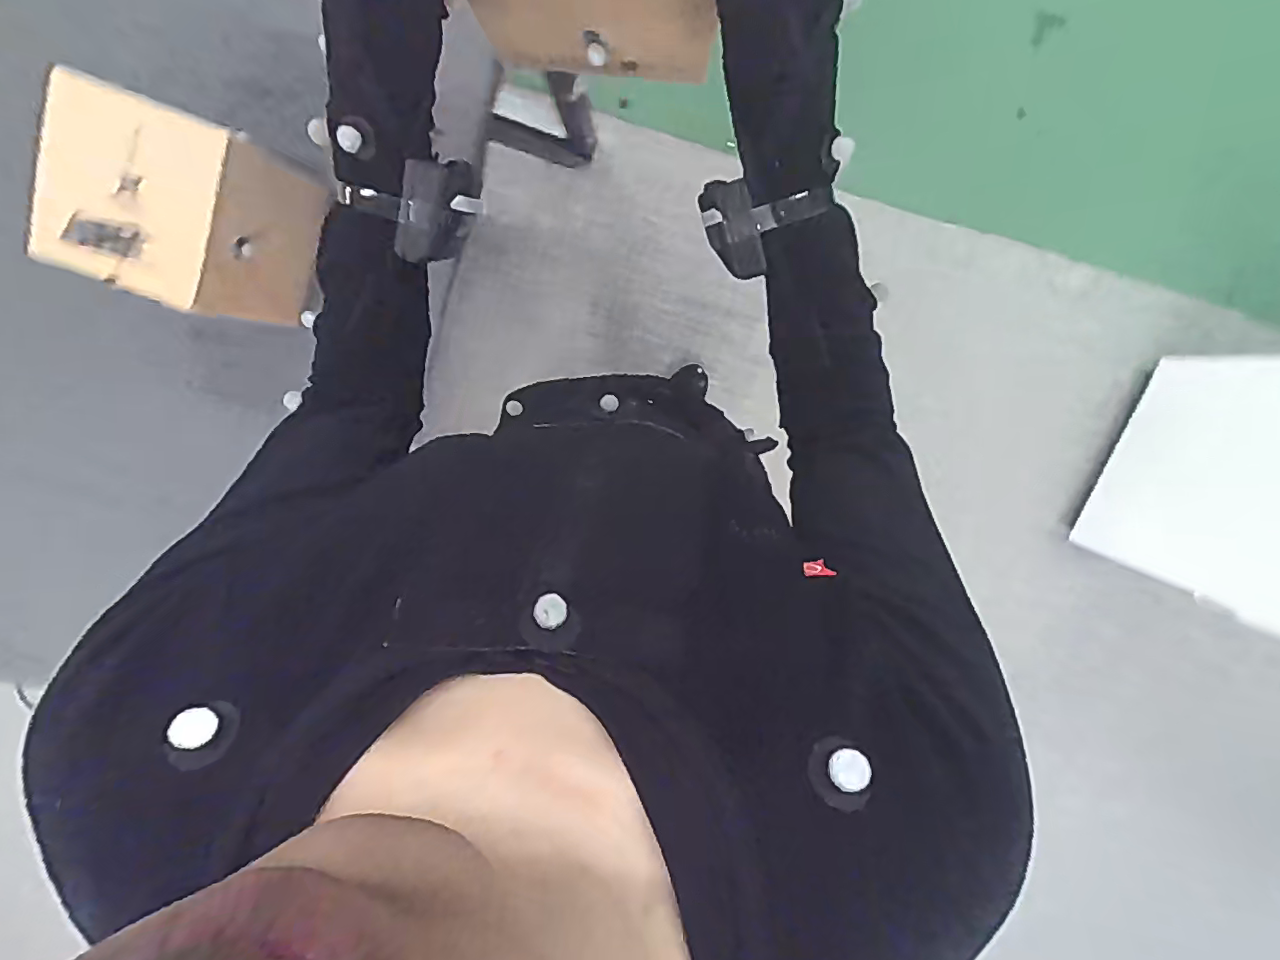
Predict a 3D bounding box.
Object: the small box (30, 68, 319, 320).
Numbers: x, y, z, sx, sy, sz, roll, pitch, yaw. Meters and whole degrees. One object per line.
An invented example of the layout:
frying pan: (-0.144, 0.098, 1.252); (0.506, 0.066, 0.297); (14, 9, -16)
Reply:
small box: (-0.492, -0.290, 0.597); (0.168, 0.176, 0.179); (20, 101, -3)
